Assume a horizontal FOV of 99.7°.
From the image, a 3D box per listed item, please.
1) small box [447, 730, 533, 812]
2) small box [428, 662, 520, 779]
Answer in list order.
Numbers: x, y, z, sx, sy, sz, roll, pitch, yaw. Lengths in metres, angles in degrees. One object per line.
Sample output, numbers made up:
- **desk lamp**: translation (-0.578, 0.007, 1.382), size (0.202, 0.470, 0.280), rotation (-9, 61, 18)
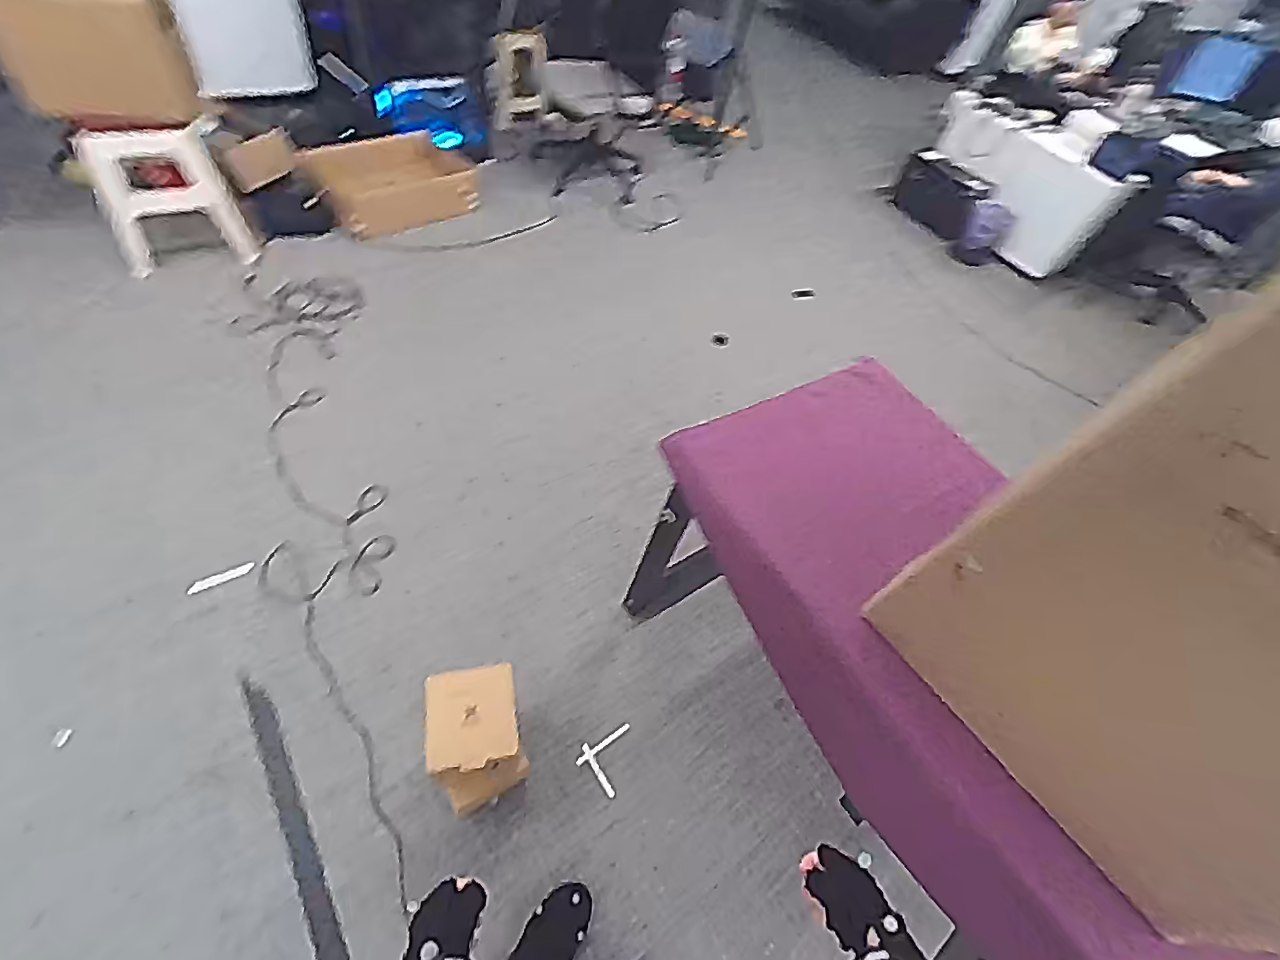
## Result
- **small box**: translation (-0.356, 0.612, 1.213), size (0.168, 0.176, 0.179), rotation (-22, 63, -26)
- **small box**: translation (-0.335, 0.493, 1.099), size (0.168, 0.176, 0.179), rotation (-4, 54, -17)
